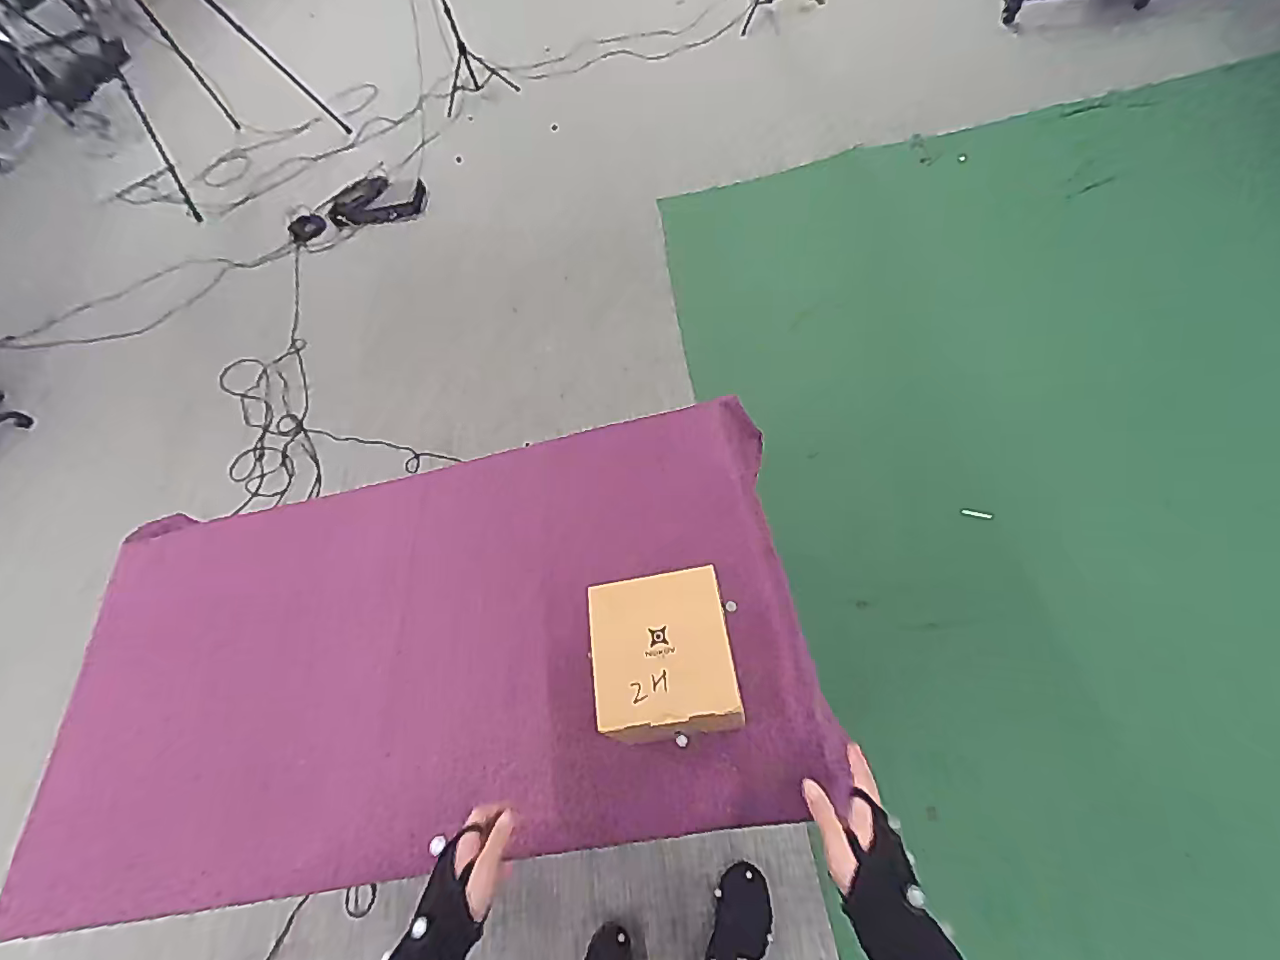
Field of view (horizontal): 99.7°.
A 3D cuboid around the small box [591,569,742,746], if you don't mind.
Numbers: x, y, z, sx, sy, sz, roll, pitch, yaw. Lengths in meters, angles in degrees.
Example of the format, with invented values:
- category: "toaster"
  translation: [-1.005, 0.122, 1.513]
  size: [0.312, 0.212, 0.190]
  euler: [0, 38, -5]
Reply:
- category: "small box"
  translation: [0.037, 0.239, 0.712]
  size: [0.168, 0.176, 0.179]
  euler: [-11, 58, 6]
